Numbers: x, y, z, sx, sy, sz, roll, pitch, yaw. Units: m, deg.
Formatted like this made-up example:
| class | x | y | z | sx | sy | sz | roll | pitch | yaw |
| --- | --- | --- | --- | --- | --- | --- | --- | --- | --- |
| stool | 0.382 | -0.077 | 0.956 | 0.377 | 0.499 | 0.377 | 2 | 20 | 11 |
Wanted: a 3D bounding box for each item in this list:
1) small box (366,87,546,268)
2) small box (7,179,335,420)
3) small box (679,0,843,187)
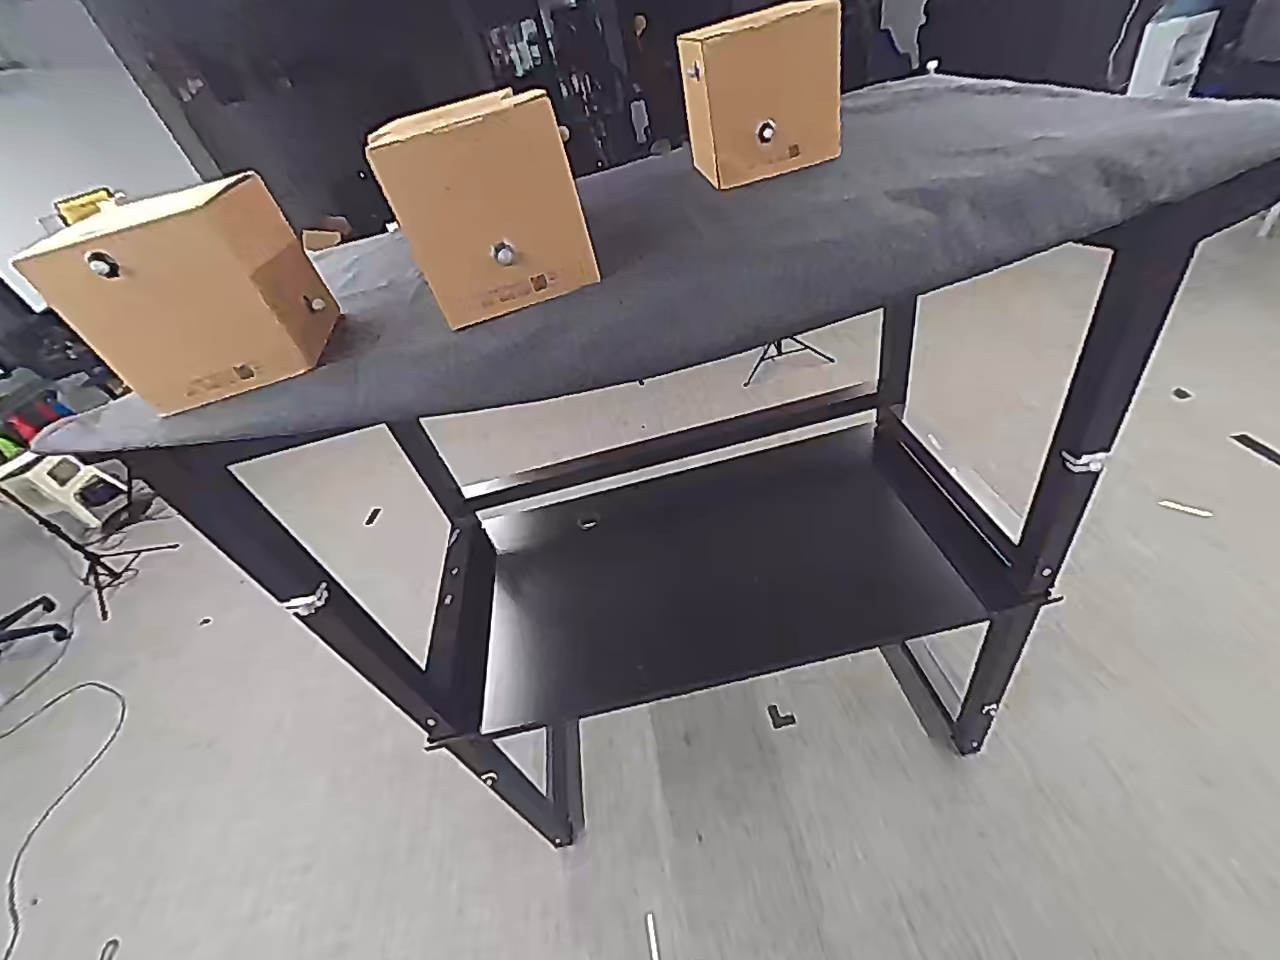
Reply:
| class | x | y | z | sx | sy | sz | roll | pitch | yaw |
| --- | --- | --- | --- | --- | --- | --- | --- | --- | --- |
| small box | -0.235 | -0.409 | 0.743 | 0.168 | 0.176 | 0.179 | -12 | 42 | 4 |
| small box | -0.454 | -0.190 | 0.568 | 0.168 | 0.176 | 0.179 | -19 | 41 | -3 |
| small box | 0.158 | -0.517 | 0.730 | 0.168 | 0.176 | 0.179 | -15 | 41 | 3 |
